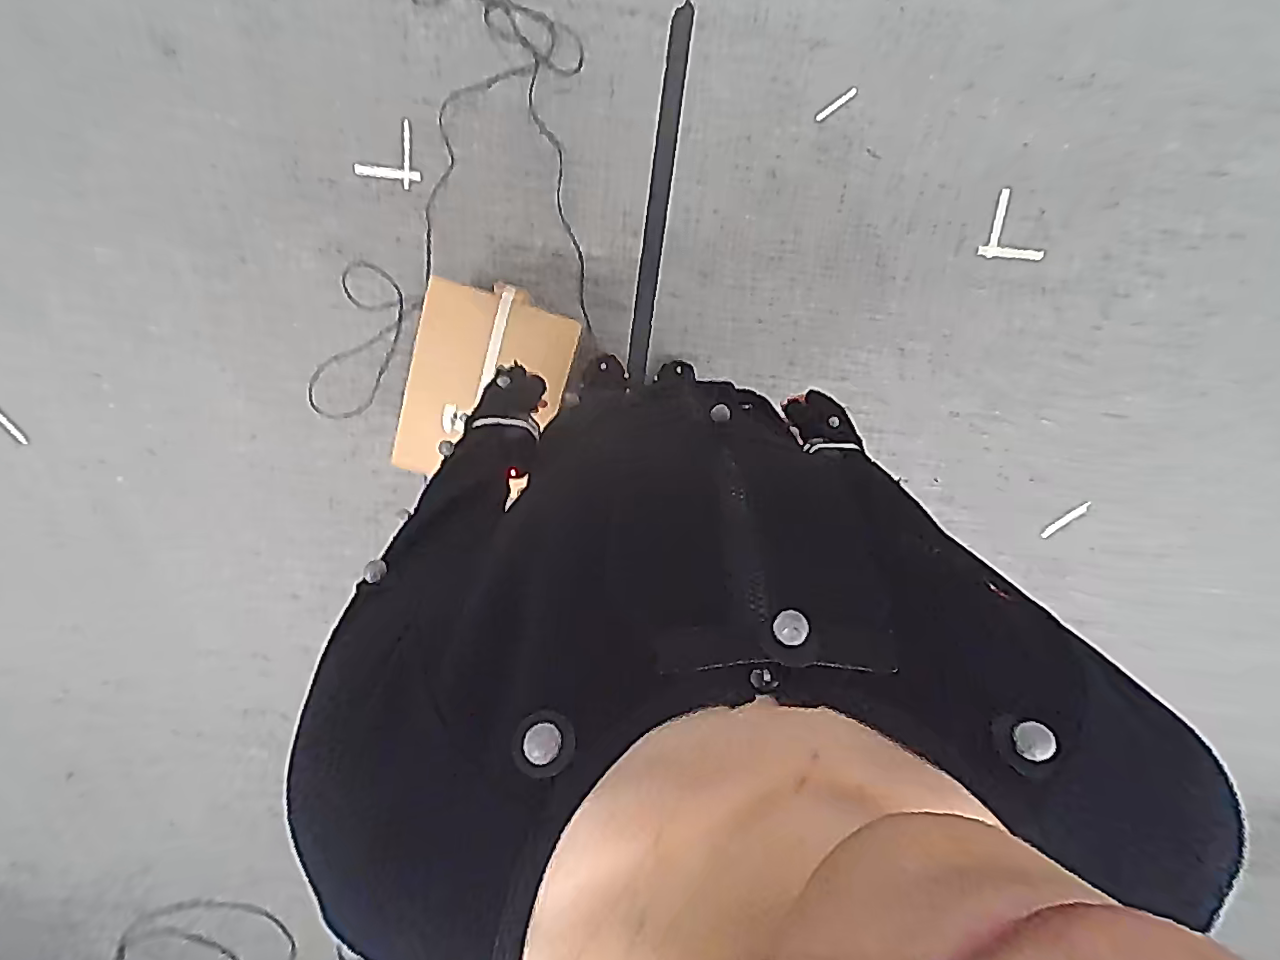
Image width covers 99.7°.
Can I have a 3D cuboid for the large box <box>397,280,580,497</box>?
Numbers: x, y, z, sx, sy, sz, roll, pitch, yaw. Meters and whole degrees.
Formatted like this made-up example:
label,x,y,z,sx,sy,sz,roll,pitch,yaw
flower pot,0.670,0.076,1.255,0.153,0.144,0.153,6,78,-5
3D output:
label,x,y,z,sx,sy,sz,roll,pitch,yaw
large box,-0.341,-0.226,1.294,0.320,0.320,0.408,16,105,-8
